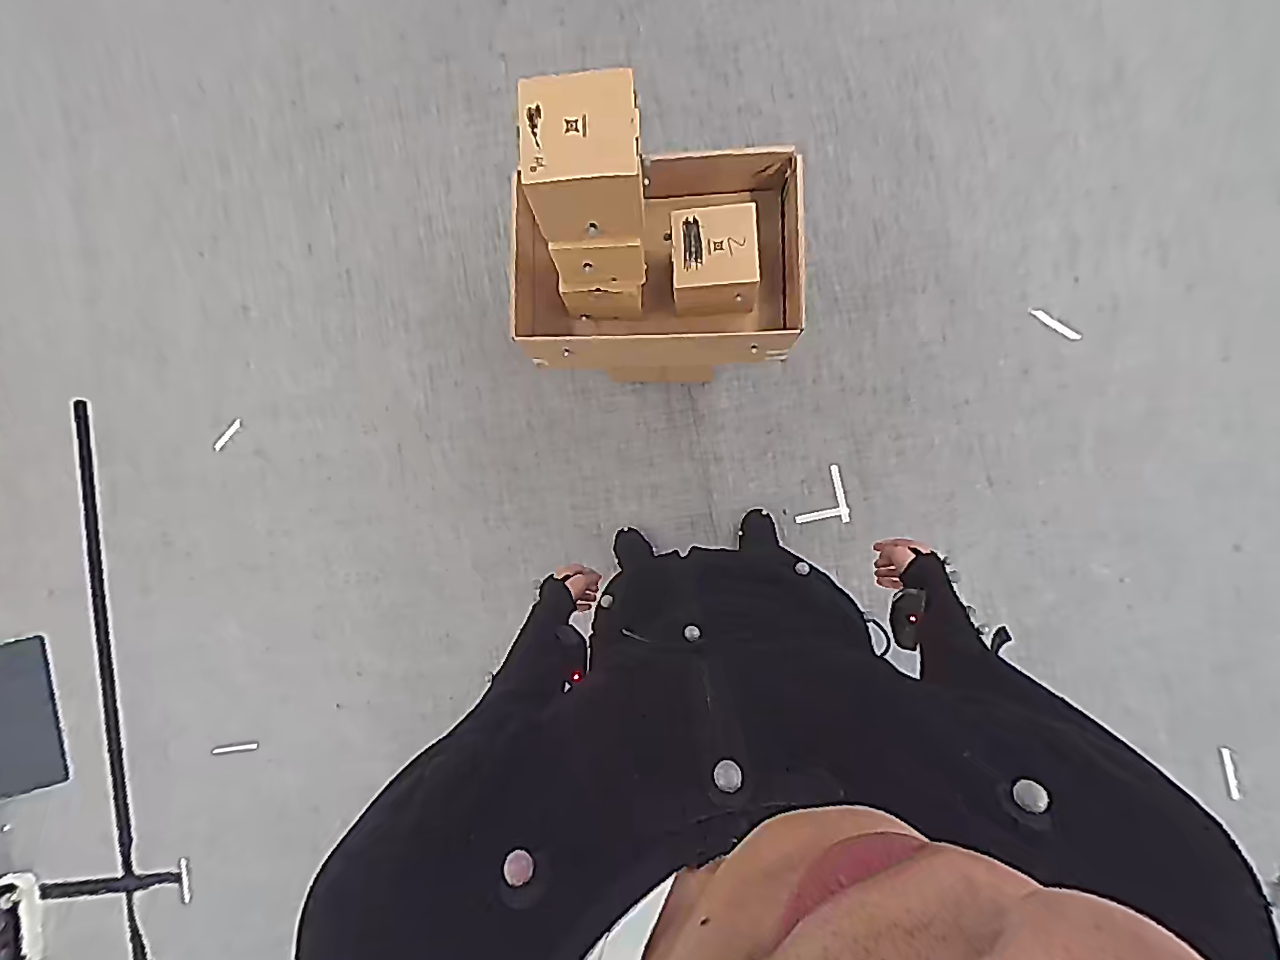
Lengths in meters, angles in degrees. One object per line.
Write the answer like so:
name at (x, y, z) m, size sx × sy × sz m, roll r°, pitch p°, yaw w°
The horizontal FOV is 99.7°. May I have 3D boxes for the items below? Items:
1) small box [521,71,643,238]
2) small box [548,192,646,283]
small box at (-0.084, -0.509, 0.867) m, size 0.179 × 0.176 × 0.168 m, roll -2°, pitch 85°, yaw 3°
small box at (-0.076, -0.488, 1.030) m, size 0.168 × 0.176 × 0.179 m, roll -1°, pitch 86°, yaw 3°
